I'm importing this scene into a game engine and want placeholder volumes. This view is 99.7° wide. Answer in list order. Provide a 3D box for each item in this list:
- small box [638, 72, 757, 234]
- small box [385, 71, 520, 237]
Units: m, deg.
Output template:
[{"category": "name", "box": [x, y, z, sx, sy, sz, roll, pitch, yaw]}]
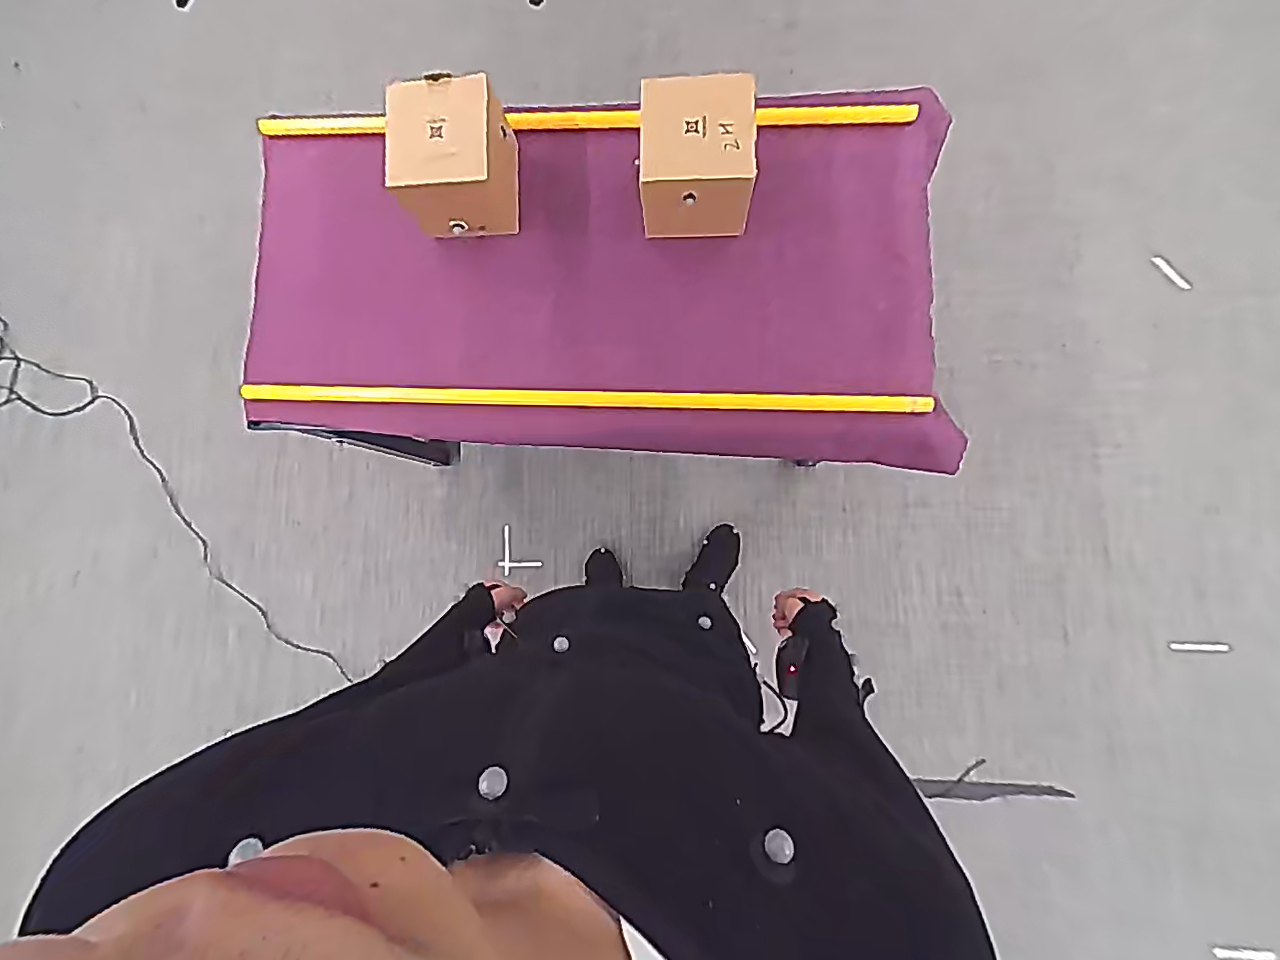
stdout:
[{"category": "small box", "box": [0.093, -0.523, 0.886, 0.179, 0.176, 0.168, 1, 87, 4]}, {"category": "small box", "box": [-0.308, -0.540, 0.916, 0.168, 0.176, 0.179, -2, 86, 5]}]
